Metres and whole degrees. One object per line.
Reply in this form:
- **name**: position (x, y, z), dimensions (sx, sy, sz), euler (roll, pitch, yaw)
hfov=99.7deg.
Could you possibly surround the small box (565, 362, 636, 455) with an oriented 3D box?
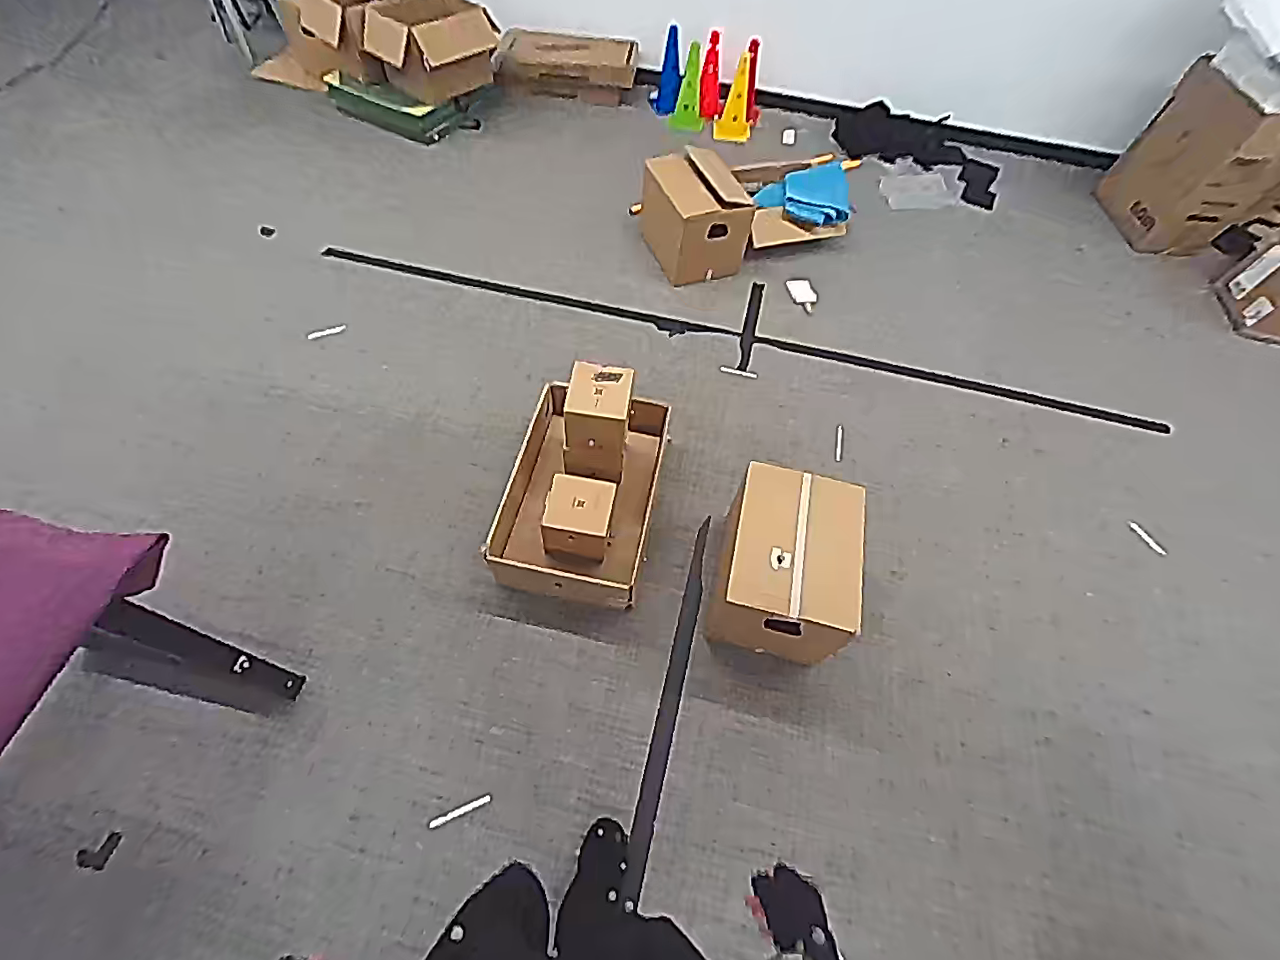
- **small box**: position (-0.108, -0.195, 1.496), dimensions (0.168, 0.176, 0.179), euler (8, 60, 0)

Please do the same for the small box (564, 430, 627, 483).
- **small box**: position (-0.130, -0.103, 1.632), dimensions (0.179, 0.176, 0.168), euler (5, 59, -2)

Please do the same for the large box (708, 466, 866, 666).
- **large box**: position (0.385, 0.233, 1.444), dimensions (0.320, 0.320, 0.408), euler (13, 59, 4)
